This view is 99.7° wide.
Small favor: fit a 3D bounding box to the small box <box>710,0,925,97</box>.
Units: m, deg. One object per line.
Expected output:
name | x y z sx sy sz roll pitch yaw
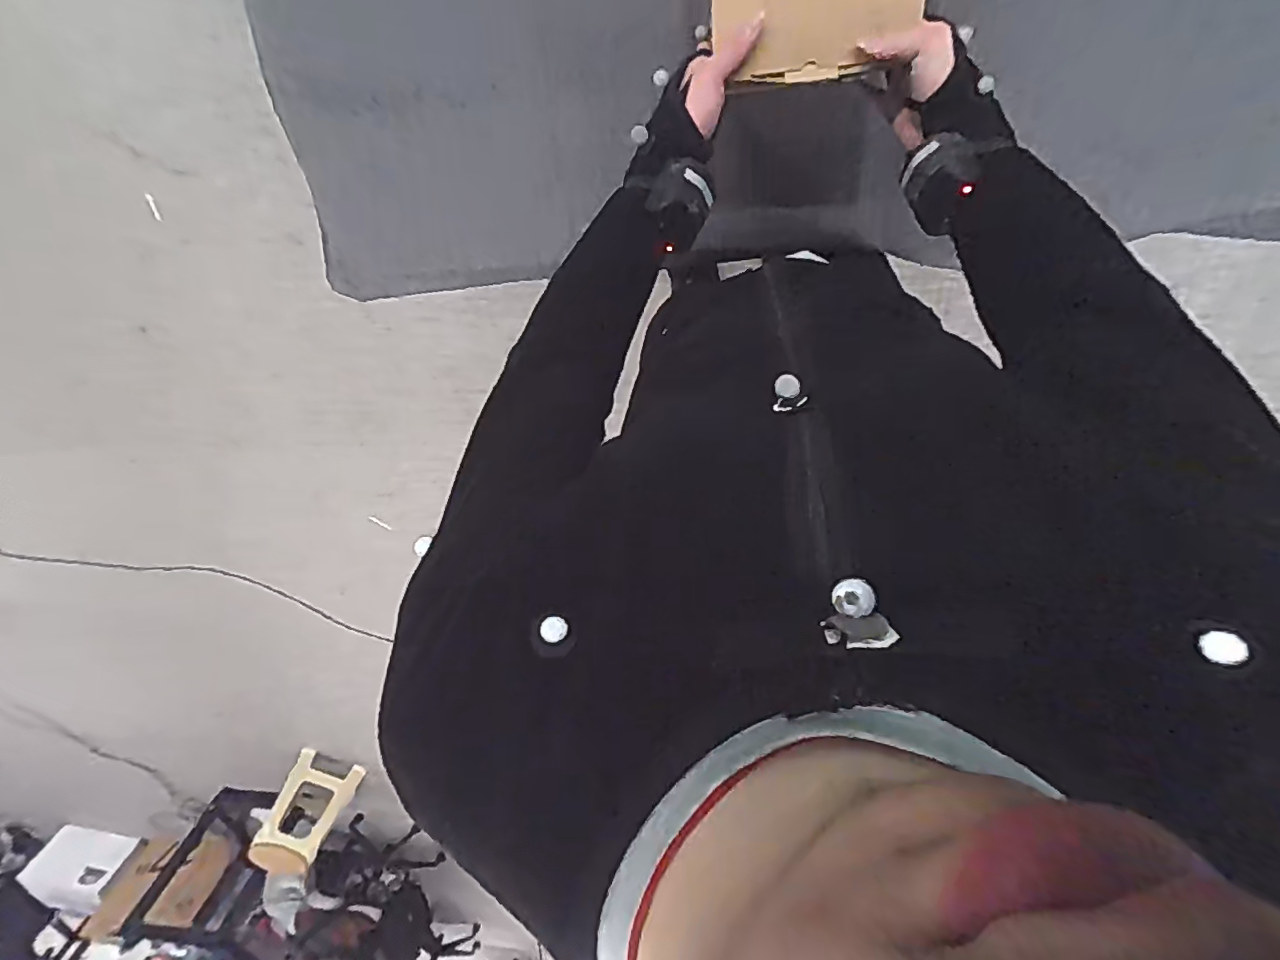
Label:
small box | 0.149 -0.455 0.481 0.168 0.176 0.179 -2 122 7
